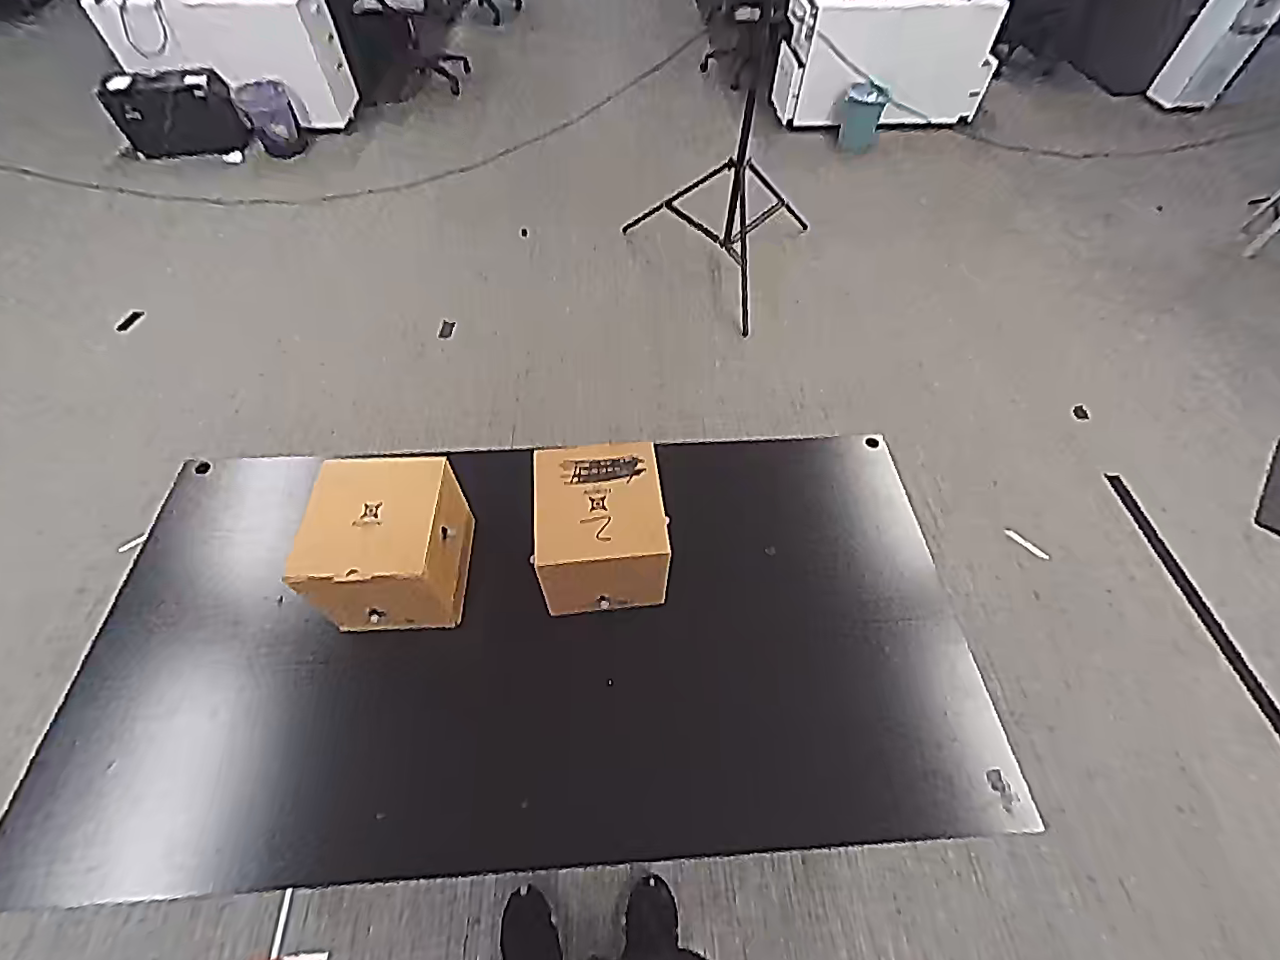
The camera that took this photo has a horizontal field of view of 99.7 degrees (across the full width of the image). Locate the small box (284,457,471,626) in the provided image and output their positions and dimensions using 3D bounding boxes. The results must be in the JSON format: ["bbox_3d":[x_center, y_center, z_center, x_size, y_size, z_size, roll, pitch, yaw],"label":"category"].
[{"bbox_3d":[-0.341,0.087,0.747,0.168,0.176,0.179,-2,56,-2],"label":"small box"}]
